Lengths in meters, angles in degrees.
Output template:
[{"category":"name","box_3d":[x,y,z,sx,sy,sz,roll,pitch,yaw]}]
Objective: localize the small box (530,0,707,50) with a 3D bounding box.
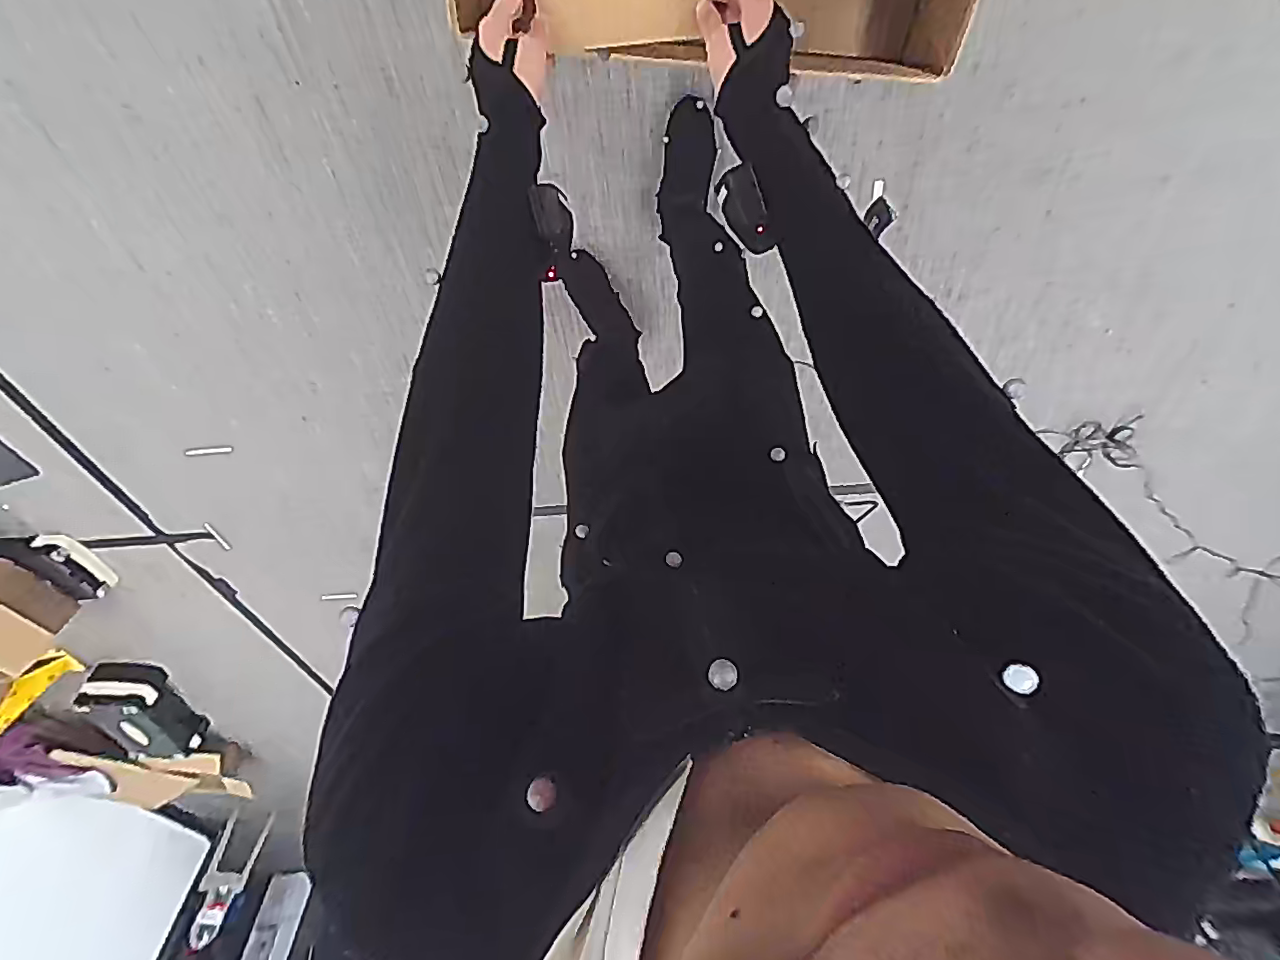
[{"category":"small box","box_3d":[-0.027,-0.536,0.518,0.168,0.176,0.179,-6,131,0]}]
